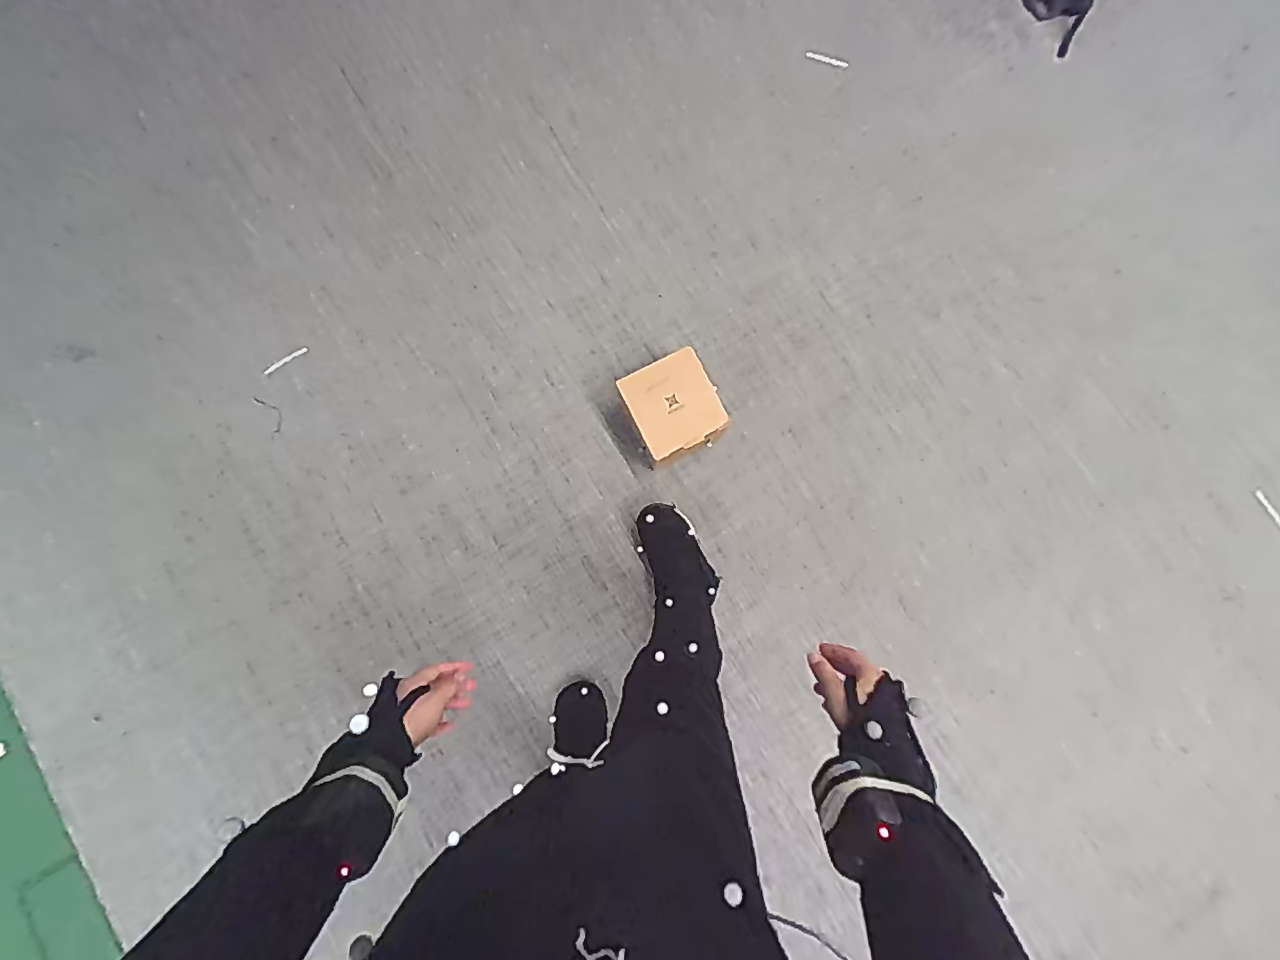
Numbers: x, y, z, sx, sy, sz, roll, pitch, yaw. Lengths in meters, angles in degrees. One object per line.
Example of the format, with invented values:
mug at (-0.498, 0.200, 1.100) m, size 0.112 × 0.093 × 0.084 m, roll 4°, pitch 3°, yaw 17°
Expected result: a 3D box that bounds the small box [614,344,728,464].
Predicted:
small box at (0.060, -0.143, 1.102) m, size 0.168 × 0.176 × 0.179 m, roll -27°, pitch 85°, yaw -3°
